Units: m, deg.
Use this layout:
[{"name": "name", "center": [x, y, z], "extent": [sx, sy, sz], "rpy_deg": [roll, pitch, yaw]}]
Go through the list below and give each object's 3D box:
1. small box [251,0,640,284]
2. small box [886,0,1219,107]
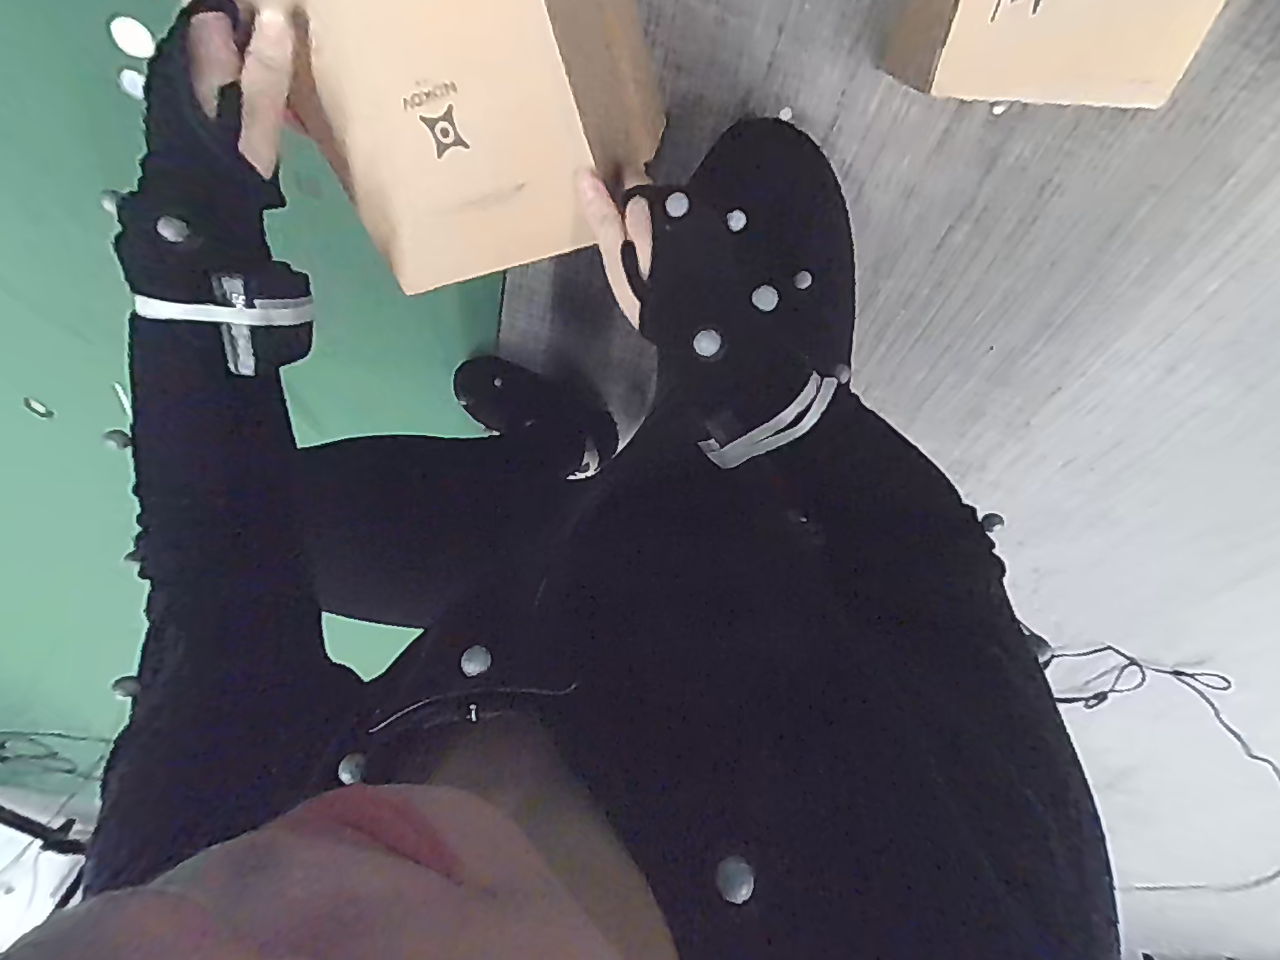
[{"name": "small box", "center": [-0.105, -0.268, 0.378], "extent": [0.168, 0.176, 0.179], "rpy_deg": [-8, 131, 15]}, {"name": "small box", "center": [0.314, -0.402, 0.414], "extent": [0.179, 0.176, 0.168], "rpy_deg": [5, 133, 3]}]
